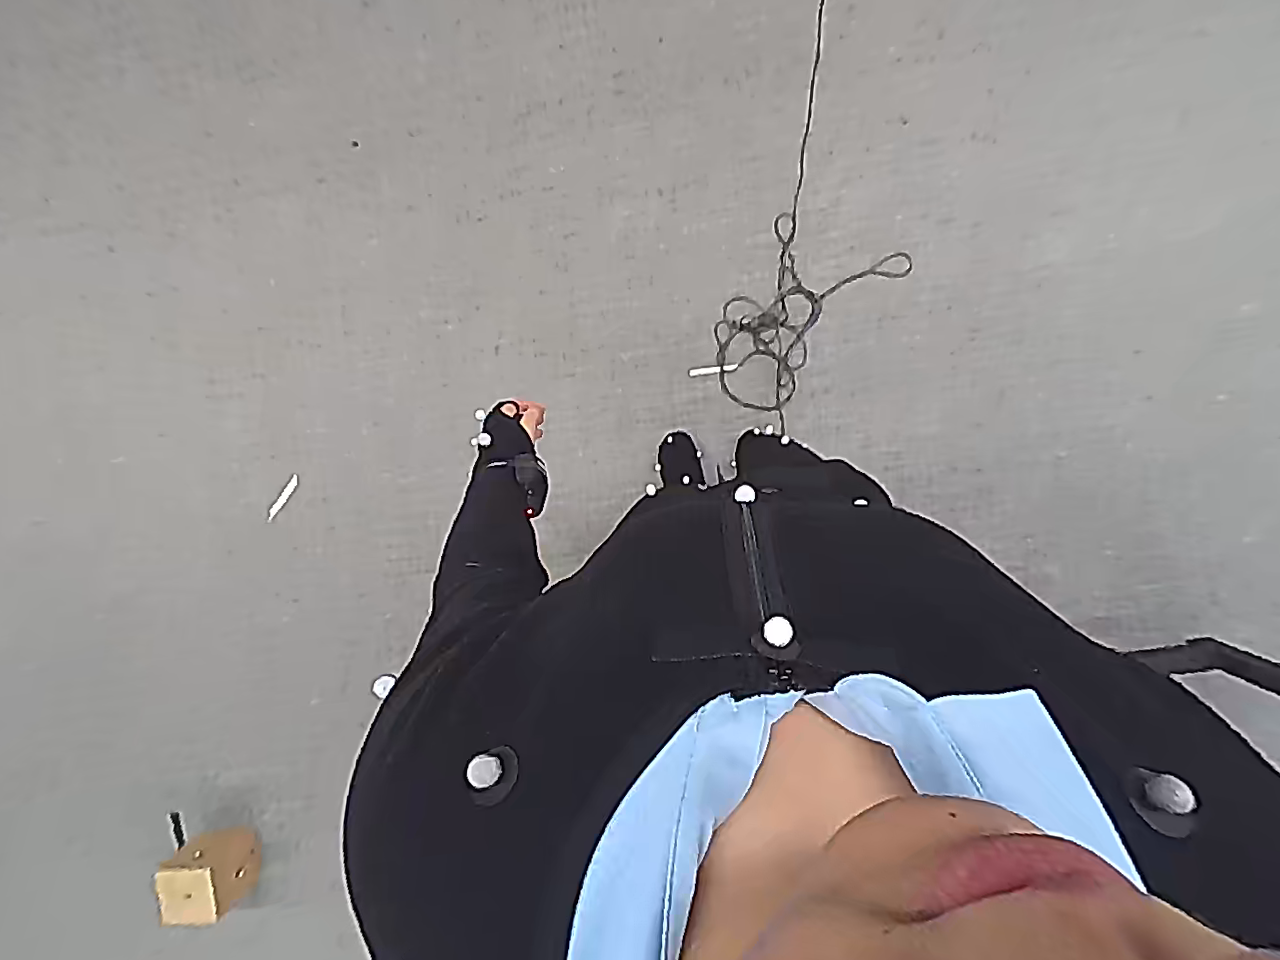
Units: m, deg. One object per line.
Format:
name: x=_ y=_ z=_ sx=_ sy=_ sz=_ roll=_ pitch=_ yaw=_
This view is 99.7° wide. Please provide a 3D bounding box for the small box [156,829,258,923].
small box: x=-1.292 y=1.186 z=1.630 sx=0.179 sy=0.176 sz=0.168 roll=-5 pitch=93 yaw=6
